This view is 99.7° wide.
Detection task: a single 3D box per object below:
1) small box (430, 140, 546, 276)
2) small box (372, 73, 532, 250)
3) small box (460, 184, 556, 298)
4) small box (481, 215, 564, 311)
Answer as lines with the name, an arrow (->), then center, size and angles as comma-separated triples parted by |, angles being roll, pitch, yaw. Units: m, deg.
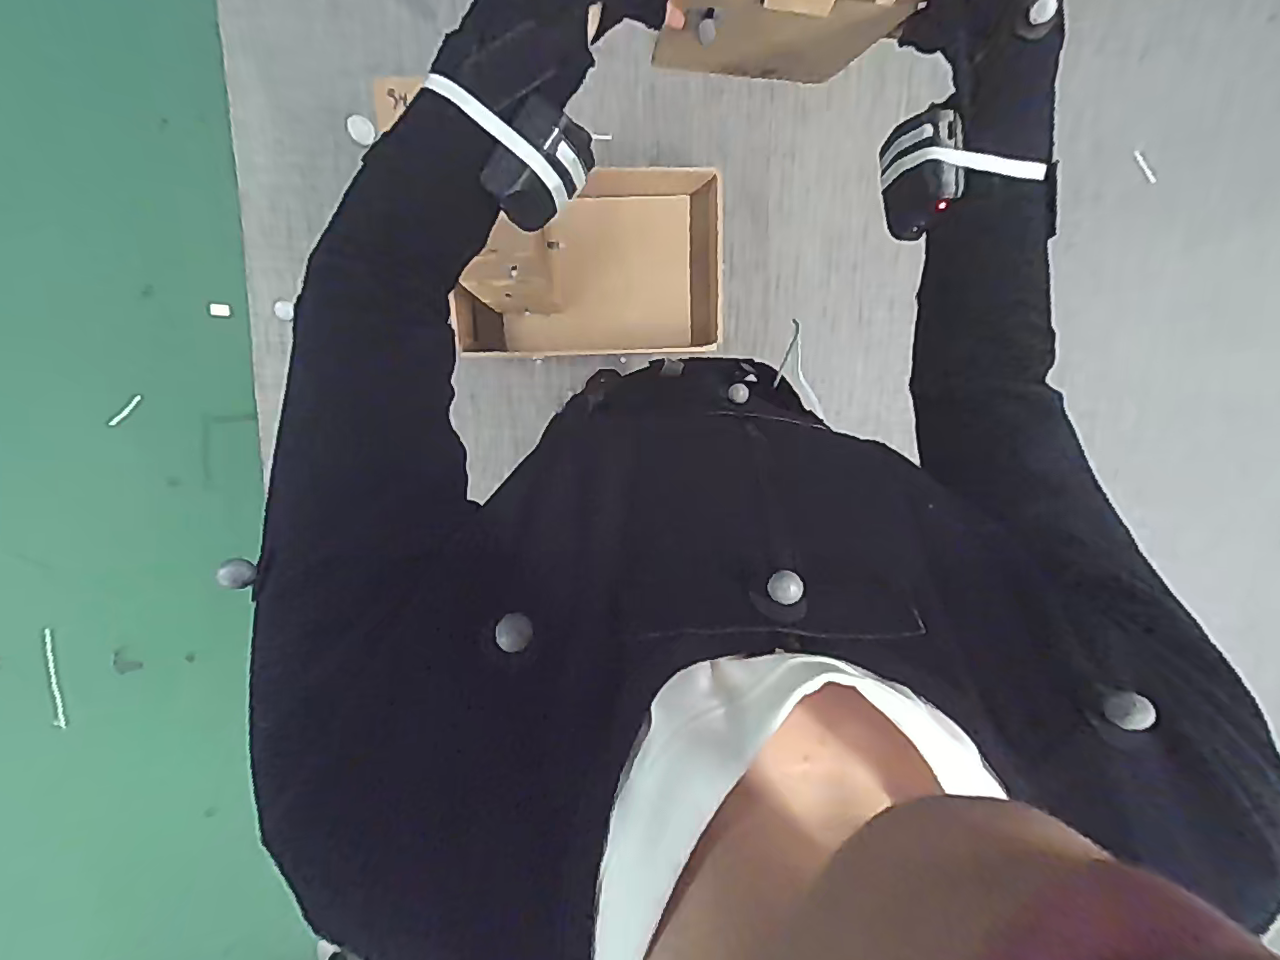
small box -> -0.258, -0.454, 0.926 | 0.168, 0.176, 0.179 | -3, 99, -2
small box -> -0.251, -0.432, 0.764 | 0.168, 0.176, 0.179 | -3, 100, -3
small box -> -0.262, -0.473, 1.089 | 0.168, 0.176, 0.179 | -2, 99, -2
small box -> -0.268, -0.496, 1.250 | 0.168, 0.176, 0.179 | 0, 99, -2
